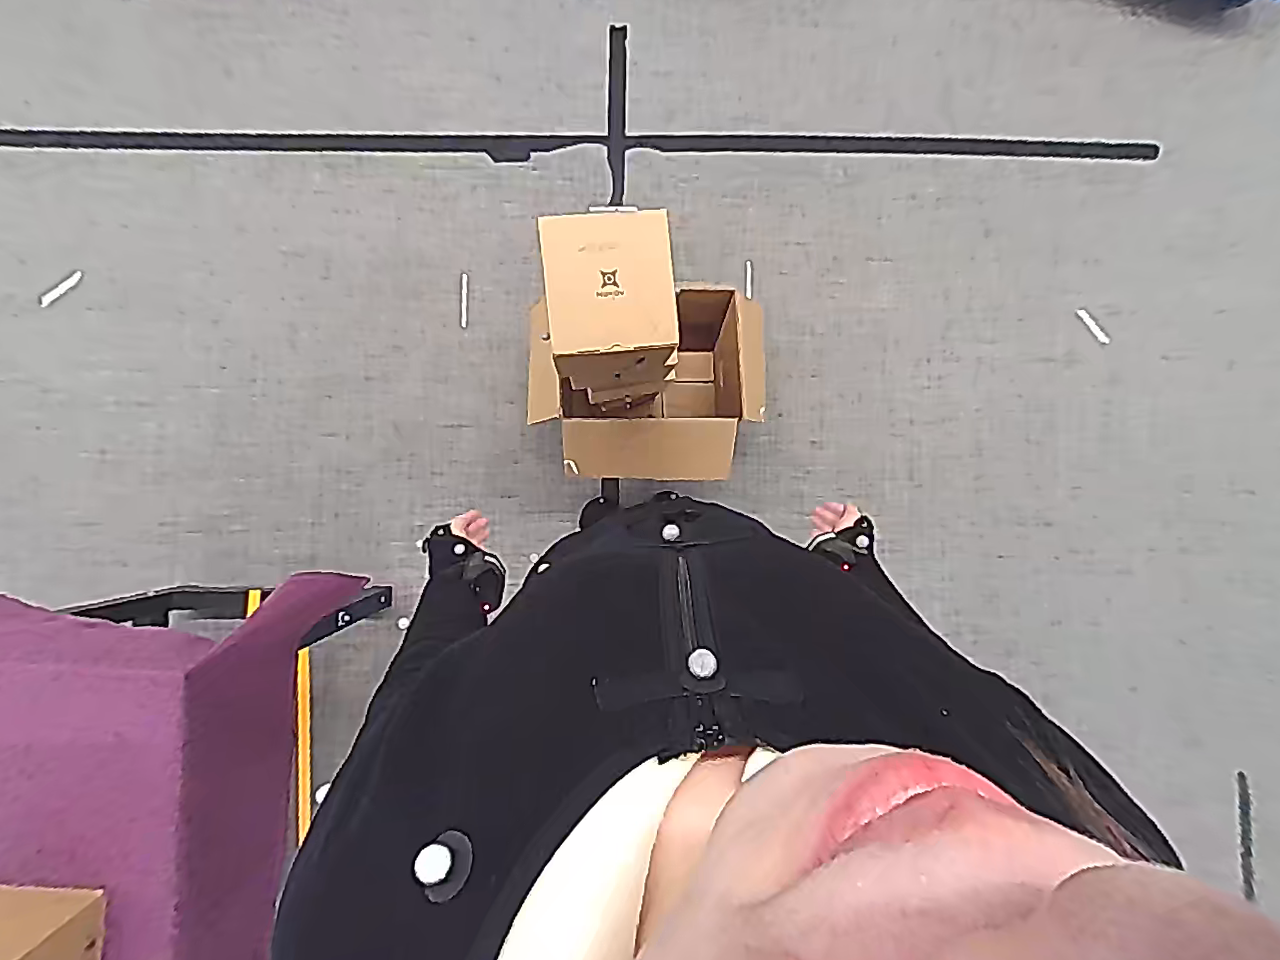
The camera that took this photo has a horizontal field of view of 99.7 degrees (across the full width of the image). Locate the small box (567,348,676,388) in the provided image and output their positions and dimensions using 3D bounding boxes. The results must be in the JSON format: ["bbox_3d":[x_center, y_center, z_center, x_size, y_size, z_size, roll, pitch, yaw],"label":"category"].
[{"bbox_3d":[-0.043,-0.256,0.925,0.179,0.176,0.168,-7,93,-5],"label":"small box"}]

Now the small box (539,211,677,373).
[{"bbox_3d":[-0.046,-0.251,0.761,0.168,0.176,0.179,-6,92,-6],"label":"small box"}]

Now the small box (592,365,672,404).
[{"bbox_3d":[-0.043,-0.286,1.255,0.179,0.176,0.168,-21,93,-5],"label":"small box"}]

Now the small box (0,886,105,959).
[{"bbox_3d":[-0.814,0.635,0.655,0.179,0.176,0.168,4,88,-1],"label":"small box"}]
